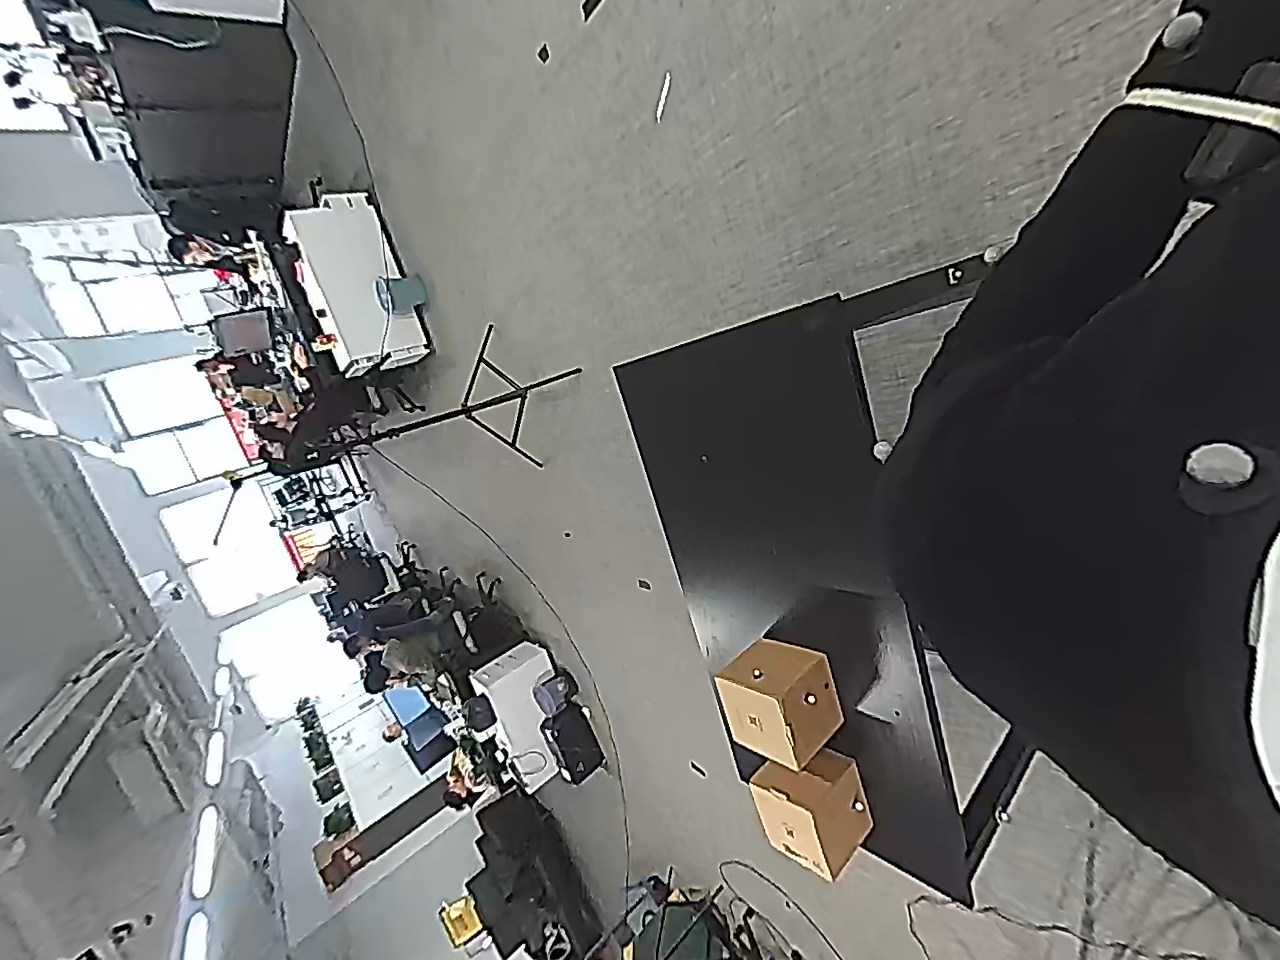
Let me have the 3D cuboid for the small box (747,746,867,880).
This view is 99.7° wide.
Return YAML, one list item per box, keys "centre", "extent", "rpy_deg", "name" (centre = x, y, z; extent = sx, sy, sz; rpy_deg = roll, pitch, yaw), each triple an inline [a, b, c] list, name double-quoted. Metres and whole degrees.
- centre: [0.367, 0.704, 1.185]
  extent: [0.168, 0.176, 0.179]
  rpy_deg: [-5, 106, 54]
  name: "small box"

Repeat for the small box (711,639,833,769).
- centre: [0.286, 0.458, 1.142]
  extent: [0.179, 0.176, 0.168]
  rpy_deg: [-3, 108, 54]
  name: "small box"
